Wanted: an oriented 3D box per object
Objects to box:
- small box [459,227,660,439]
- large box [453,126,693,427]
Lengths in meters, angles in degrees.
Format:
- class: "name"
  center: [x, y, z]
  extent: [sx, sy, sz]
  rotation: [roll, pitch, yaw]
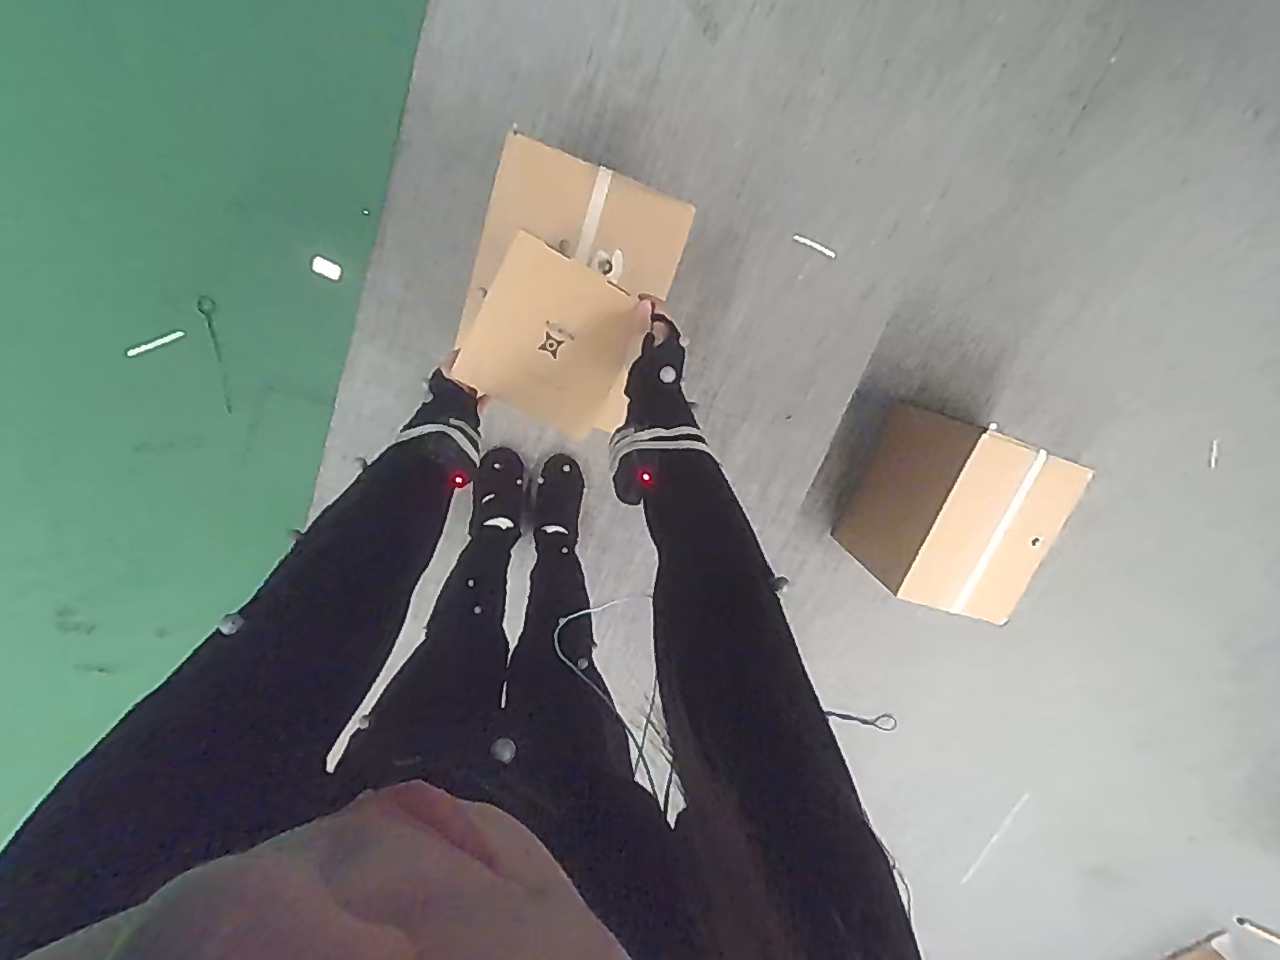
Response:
- class: "small box"
  center: [-0.100, -0.181, 0.667]
  extent: [0.168, 0.176, 0.179]
  rotation: [27, 105, -16]
- class: "large box"
  center: [-0.136, -0.359, 1.034]
  extent: [0.320, 0.320, 0.408]
  rotation: [16, 106, -14]
